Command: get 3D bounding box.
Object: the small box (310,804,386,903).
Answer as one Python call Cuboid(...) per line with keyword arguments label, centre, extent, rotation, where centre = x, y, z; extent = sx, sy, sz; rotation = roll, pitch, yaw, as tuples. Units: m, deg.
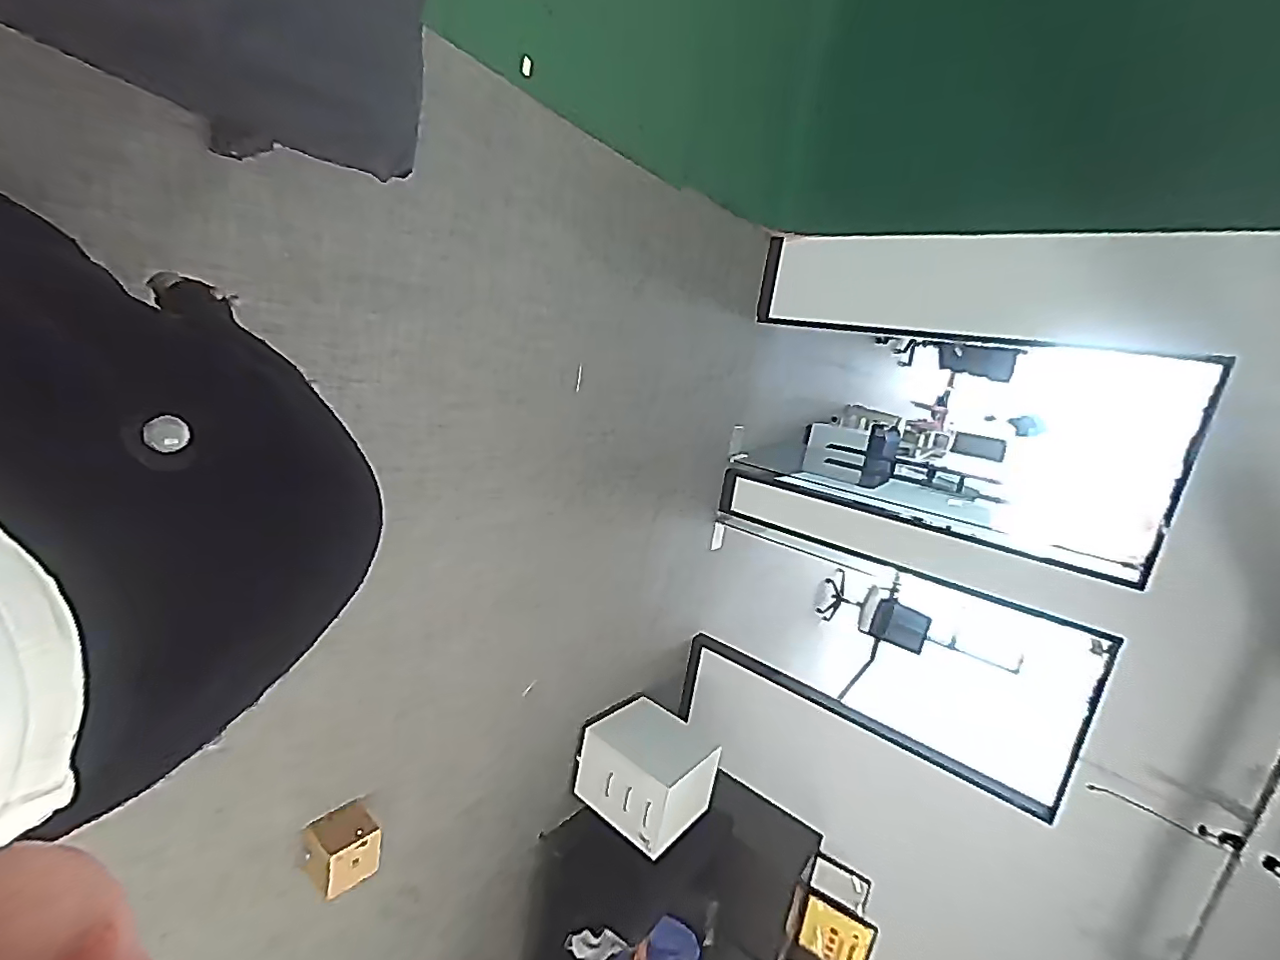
Cuboid(label="small box", centre=(-0.980, 1.238, 1.808), extent=(0.168, 0.176, 0.179), rotation=(-4, 108, -53))
